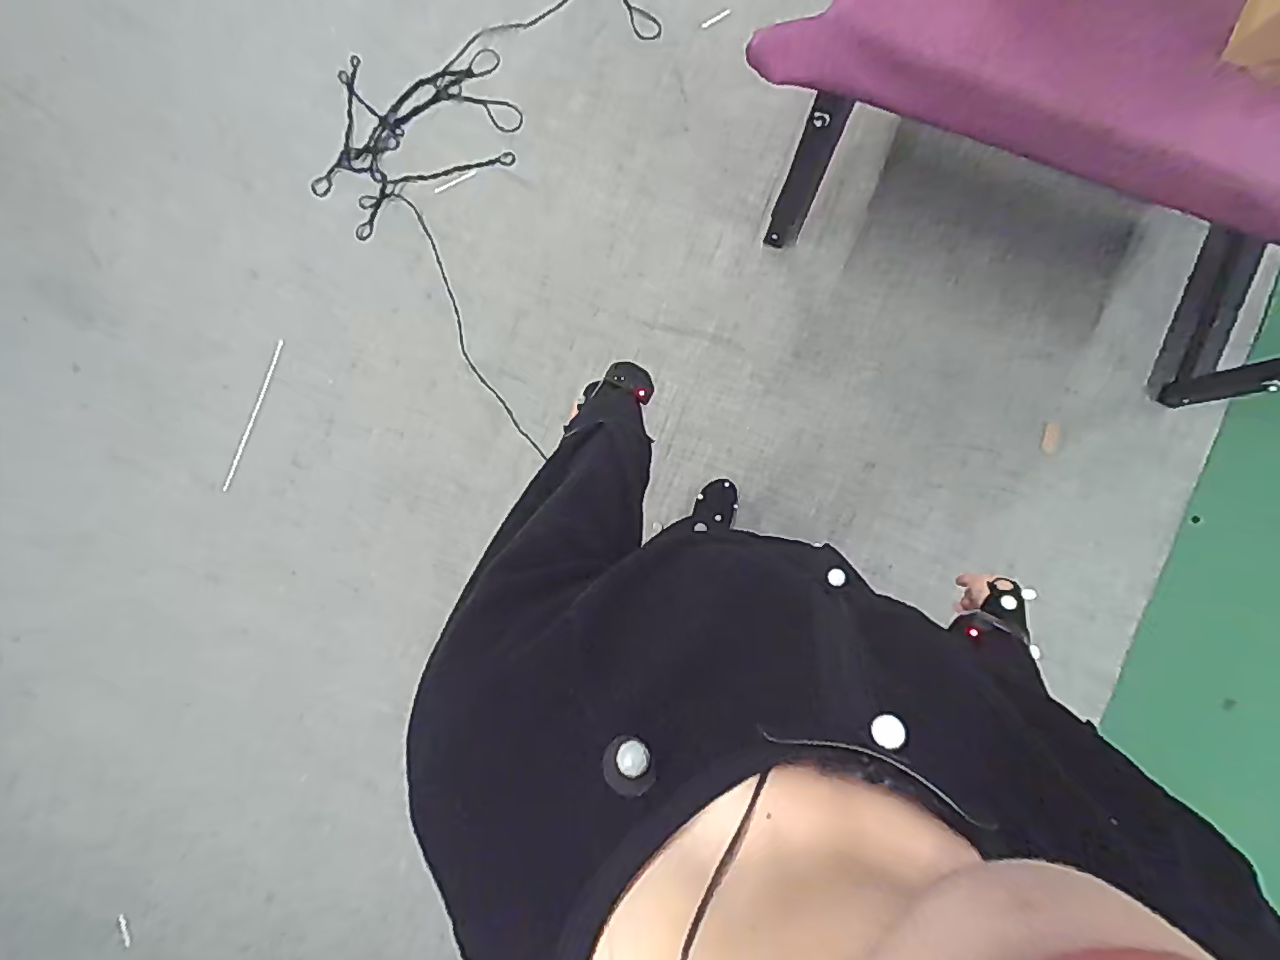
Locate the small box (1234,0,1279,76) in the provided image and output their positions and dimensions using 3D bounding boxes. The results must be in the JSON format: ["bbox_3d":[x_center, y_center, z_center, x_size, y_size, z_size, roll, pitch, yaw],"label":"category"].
[{"bbox_3d":[0.918,-0.639,0.667,0.168,0.176,0.179,25,90,5],"label":"small box"}]
